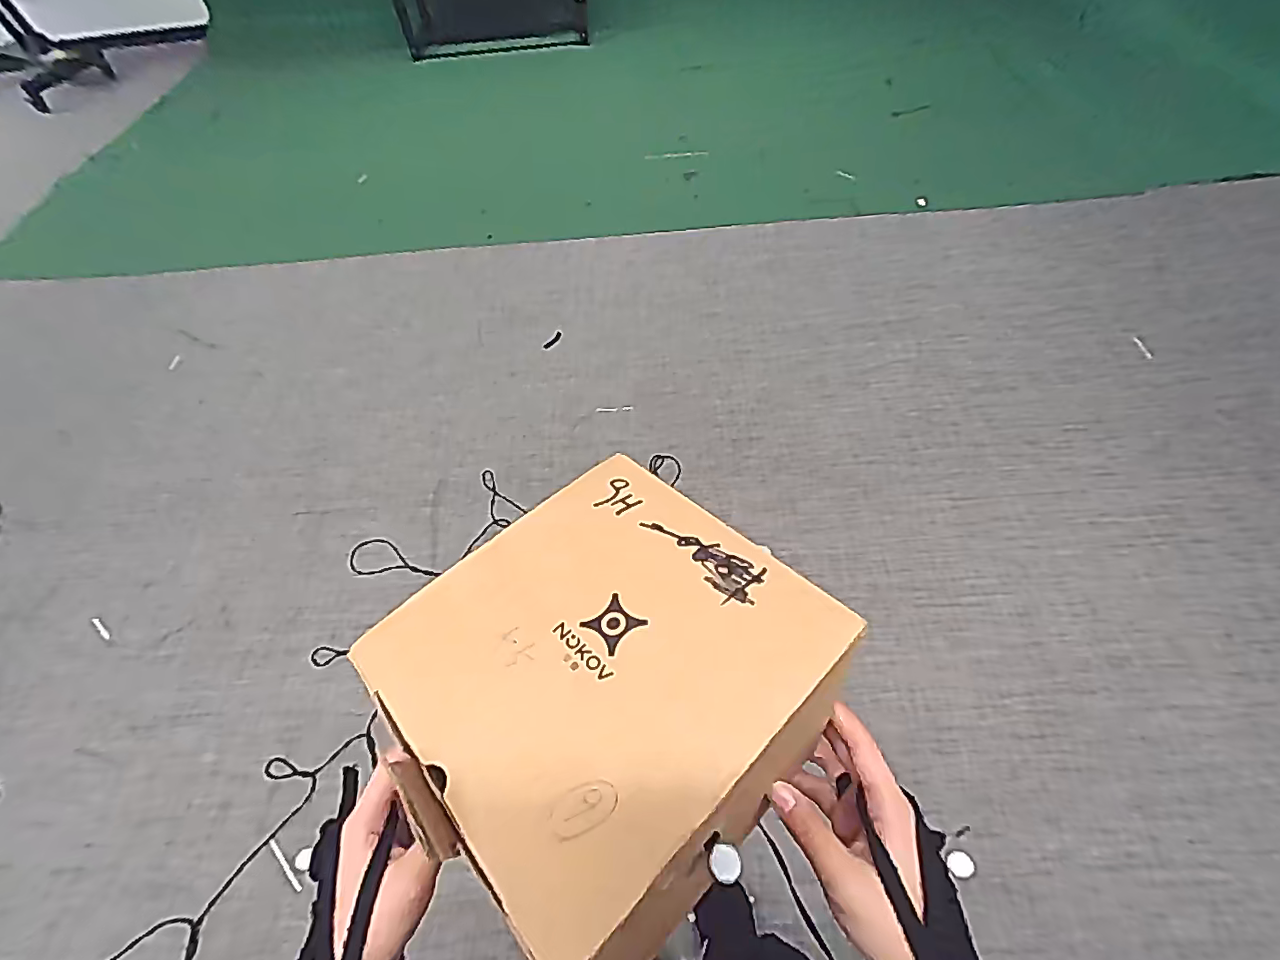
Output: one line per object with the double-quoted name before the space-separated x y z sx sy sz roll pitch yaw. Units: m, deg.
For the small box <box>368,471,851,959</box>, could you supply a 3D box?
"small box" -0.008 0.134 0.312 0.179 0.176 0.168 -39 54 -25
